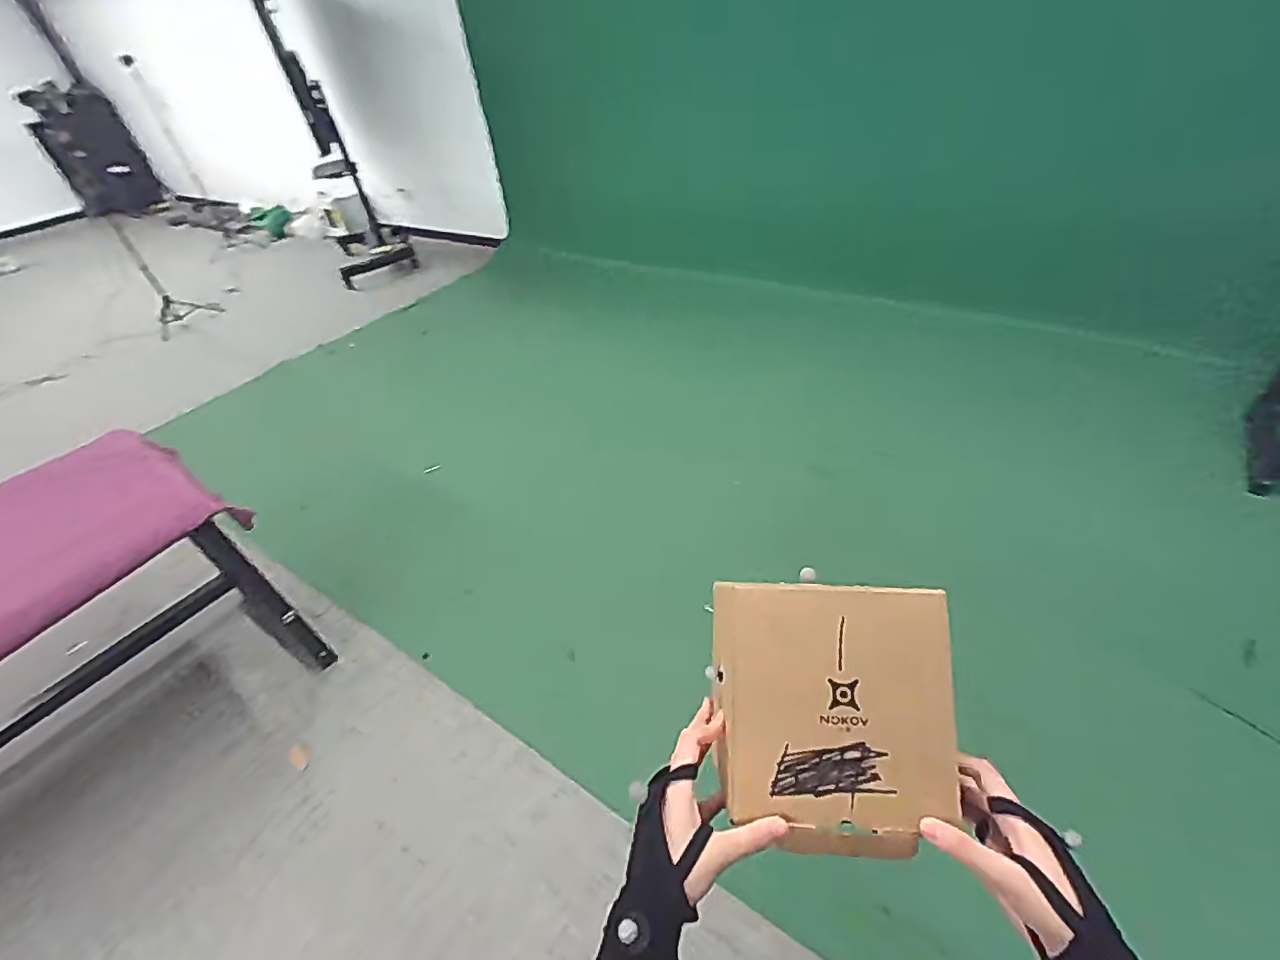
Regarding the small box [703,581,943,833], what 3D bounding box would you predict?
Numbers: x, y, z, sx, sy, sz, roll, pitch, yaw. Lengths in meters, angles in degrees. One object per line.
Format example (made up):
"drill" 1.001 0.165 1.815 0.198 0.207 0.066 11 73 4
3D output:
"small box" 0.148 0.184 0.491 0.168 0.176 0.179 1 79 2
